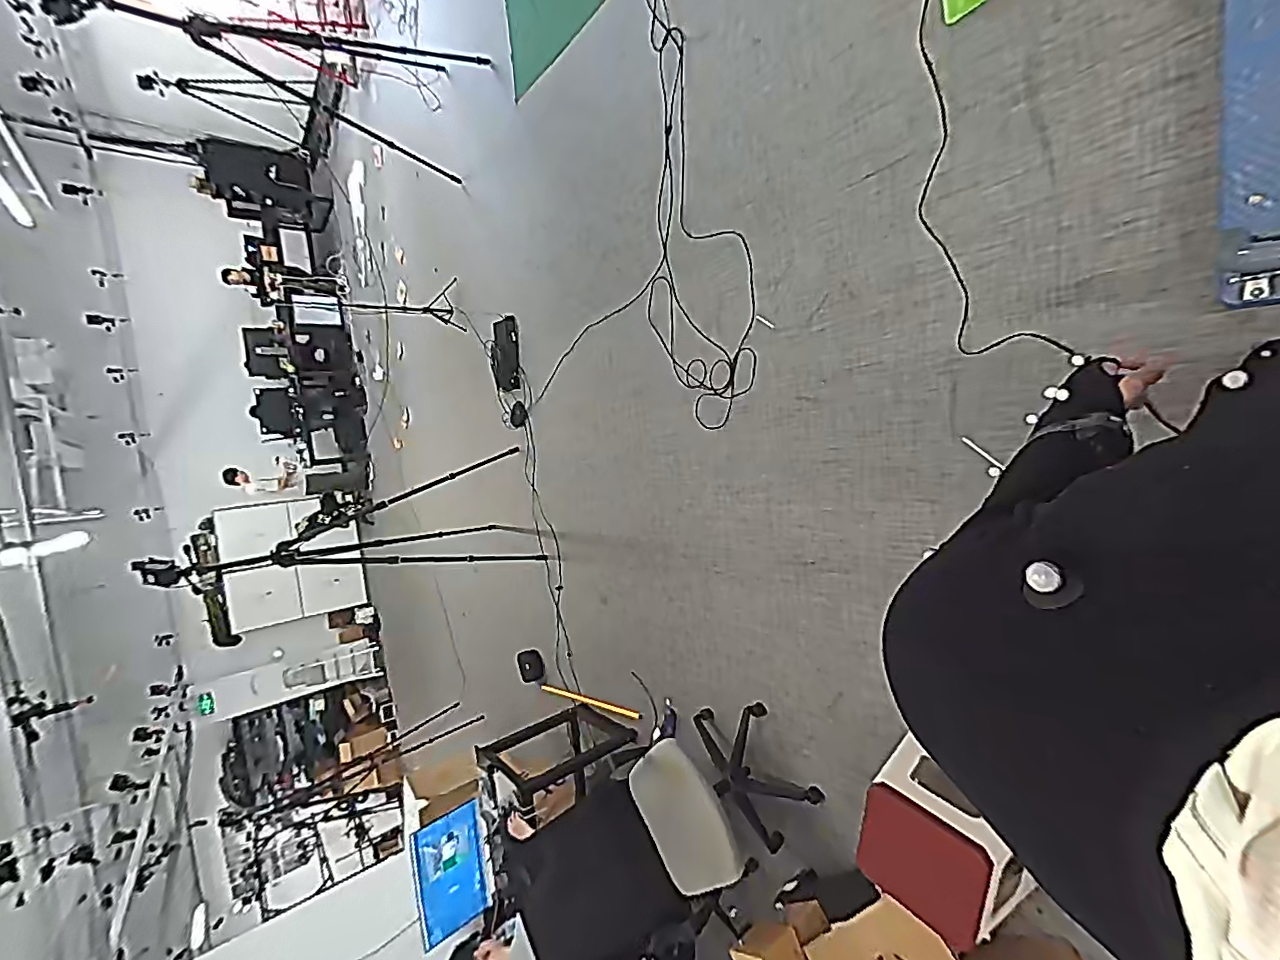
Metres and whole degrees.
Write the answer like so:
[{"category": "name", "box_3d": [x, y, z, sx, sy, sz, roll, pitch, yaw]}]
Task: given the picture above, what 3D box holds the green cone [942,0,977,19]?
[{"category": "green cone", "box_3d": [0.721, -1.302, 1.262, 0.202, 0.368, 0.200, -8, 91, 55]}]
